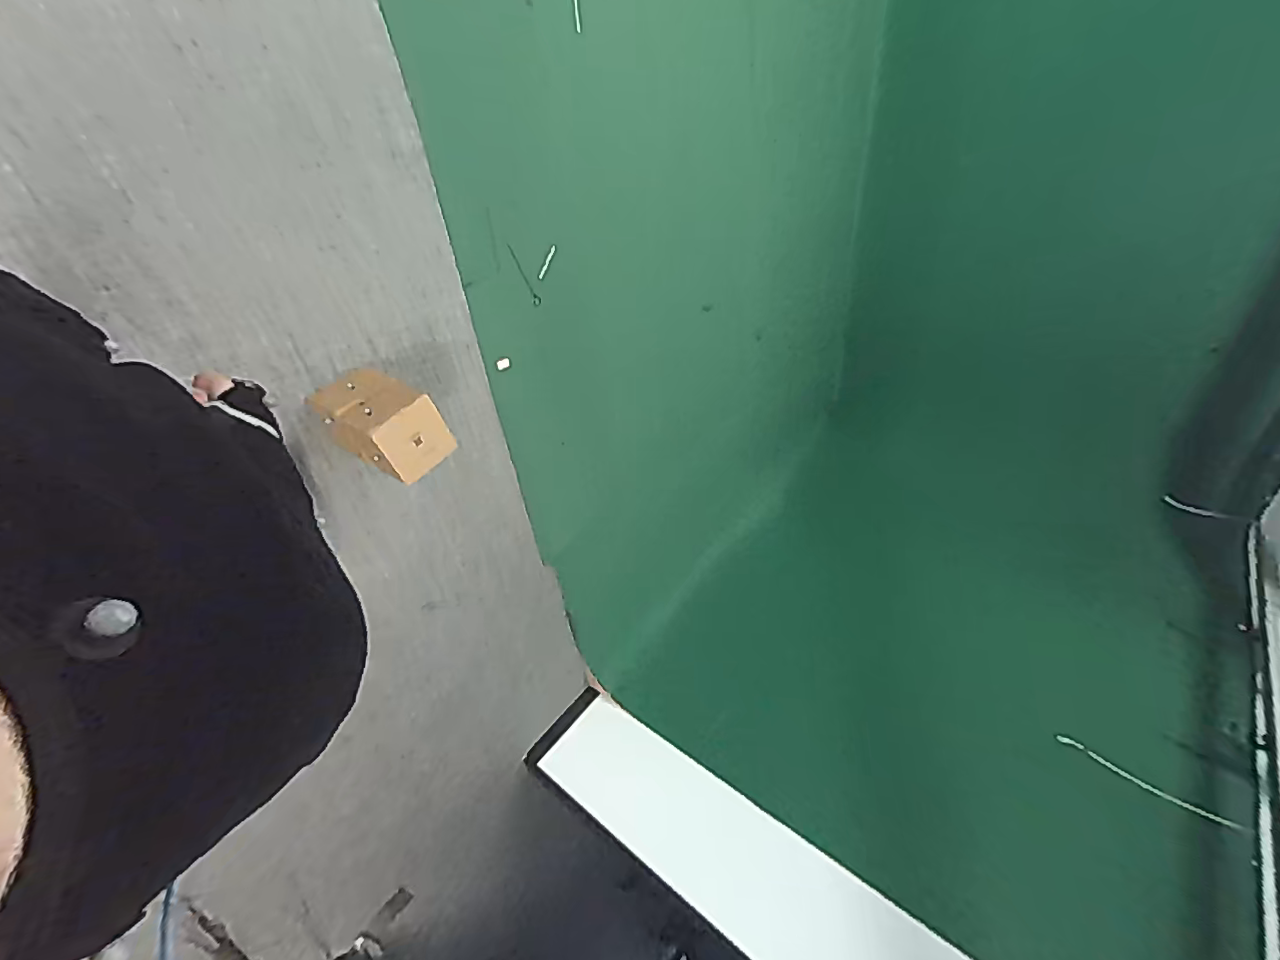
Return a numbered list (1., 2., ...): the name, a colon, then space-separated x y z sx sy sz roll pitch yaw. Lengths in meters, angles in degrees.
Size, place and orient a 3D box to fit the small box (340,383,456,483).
1. small box: -0.605 -0.125 1.348 0.168 0.176 0.179 -46 140 -28
